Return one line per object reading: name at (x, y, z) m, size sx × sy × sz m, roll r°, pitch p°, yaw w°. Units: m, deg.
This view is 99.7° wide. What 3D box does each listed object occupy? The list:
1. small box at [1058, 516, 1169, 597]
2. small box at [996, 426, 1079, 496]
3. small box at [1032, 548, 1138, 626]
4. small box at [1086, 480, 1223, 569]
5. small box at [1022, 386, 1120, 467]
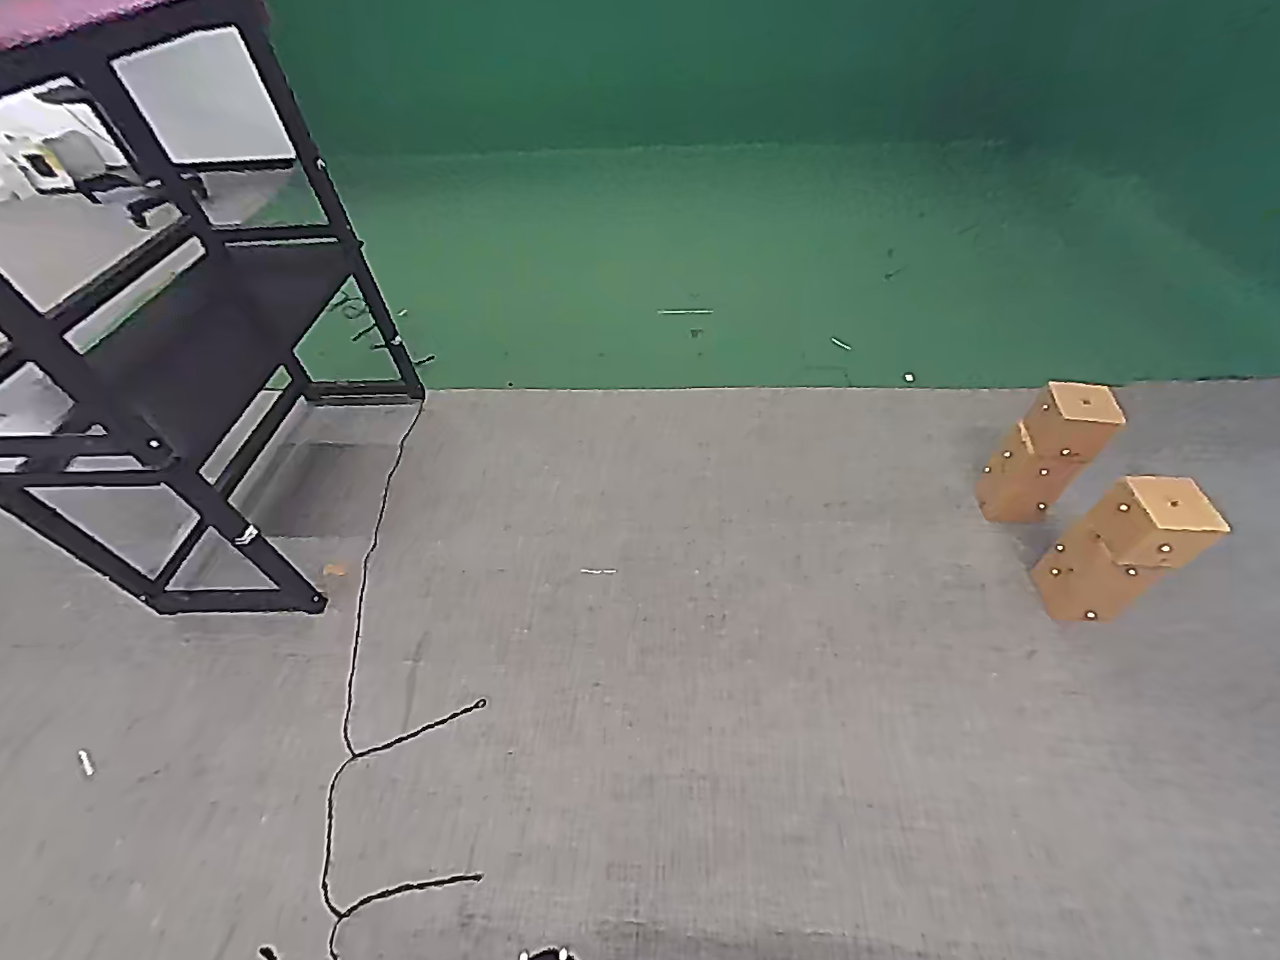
small box at (1.351, 0.222, 1.554) m, size 0.179 × 0.176 × 0.168 m, roll 2°, pitch 48°, yaw 5°
small box at (1.333, -0.063, 1.818) m, size 0.179 × 0.176 × 0.168 m, roll 4°, pitch 50°, yaw 9°
small box at (1.364, 0.330, 1.676) m, size 0.168 × 0.176 × 0.179 m, roll 1°, pitch 48°, yaw 6°
small box at (1.344, 0.120, 1.429) m, size 0.168 × 0.176 × 0.179 m, roll 2°, pitch 48°, yaw 5°
small box at (1.332, -0.167, 1.689) m, size 0.168 × 0.176 × 0.179 m, roll 8°, pitch 49°, yaw 11°
